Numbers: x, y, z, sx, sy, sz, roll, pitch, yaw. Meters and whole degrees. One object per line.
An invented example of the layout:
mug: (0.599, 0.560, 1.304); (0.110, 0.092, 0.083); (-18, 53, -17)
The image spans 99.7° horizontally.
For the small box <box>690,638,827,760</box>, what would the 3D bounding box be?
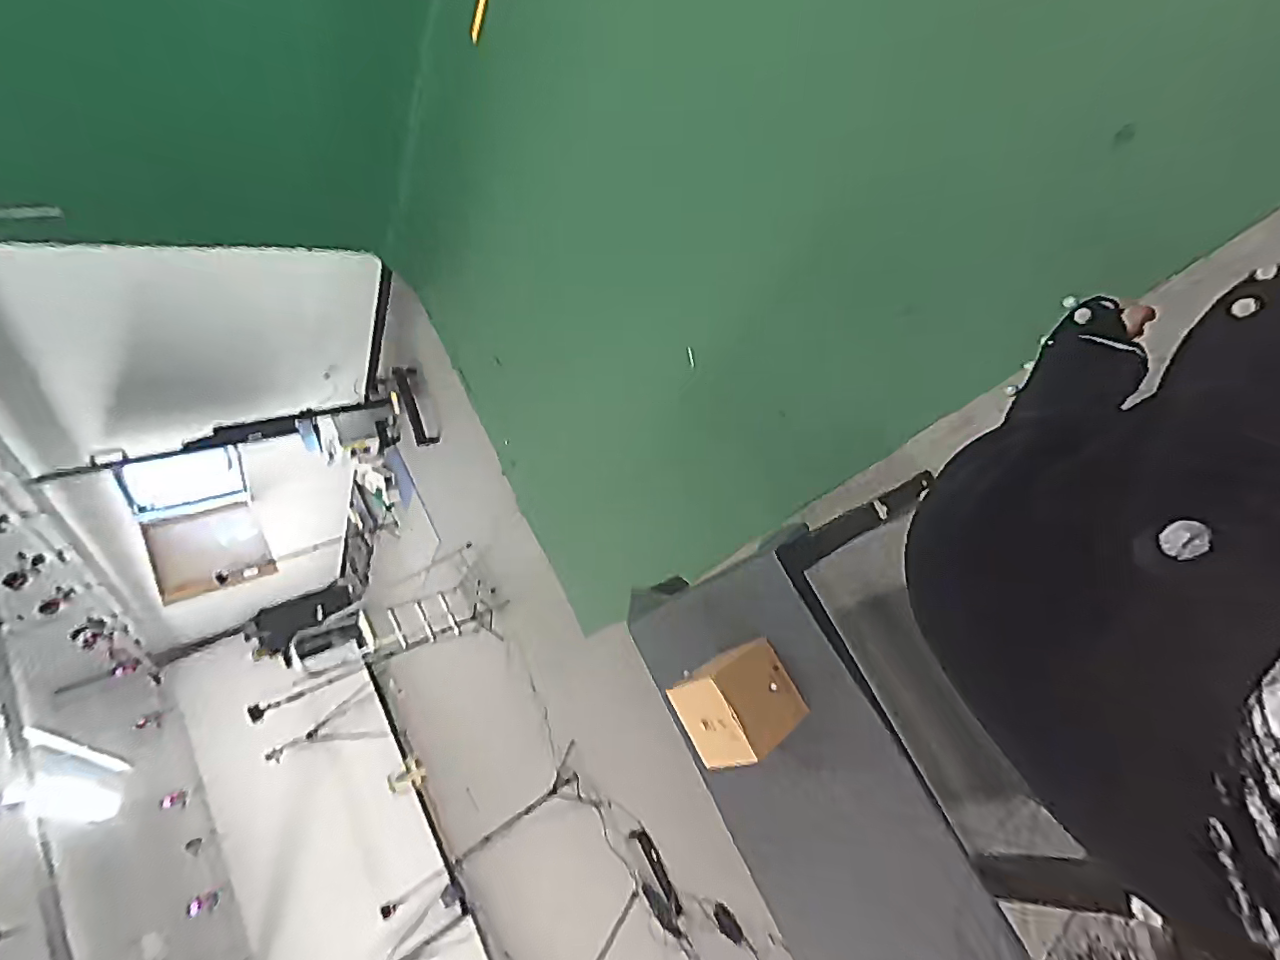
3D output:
small box: (0.241, 0.445, 1.102); (0.179, 0.176, 0.168); (-42, 70, 47)
